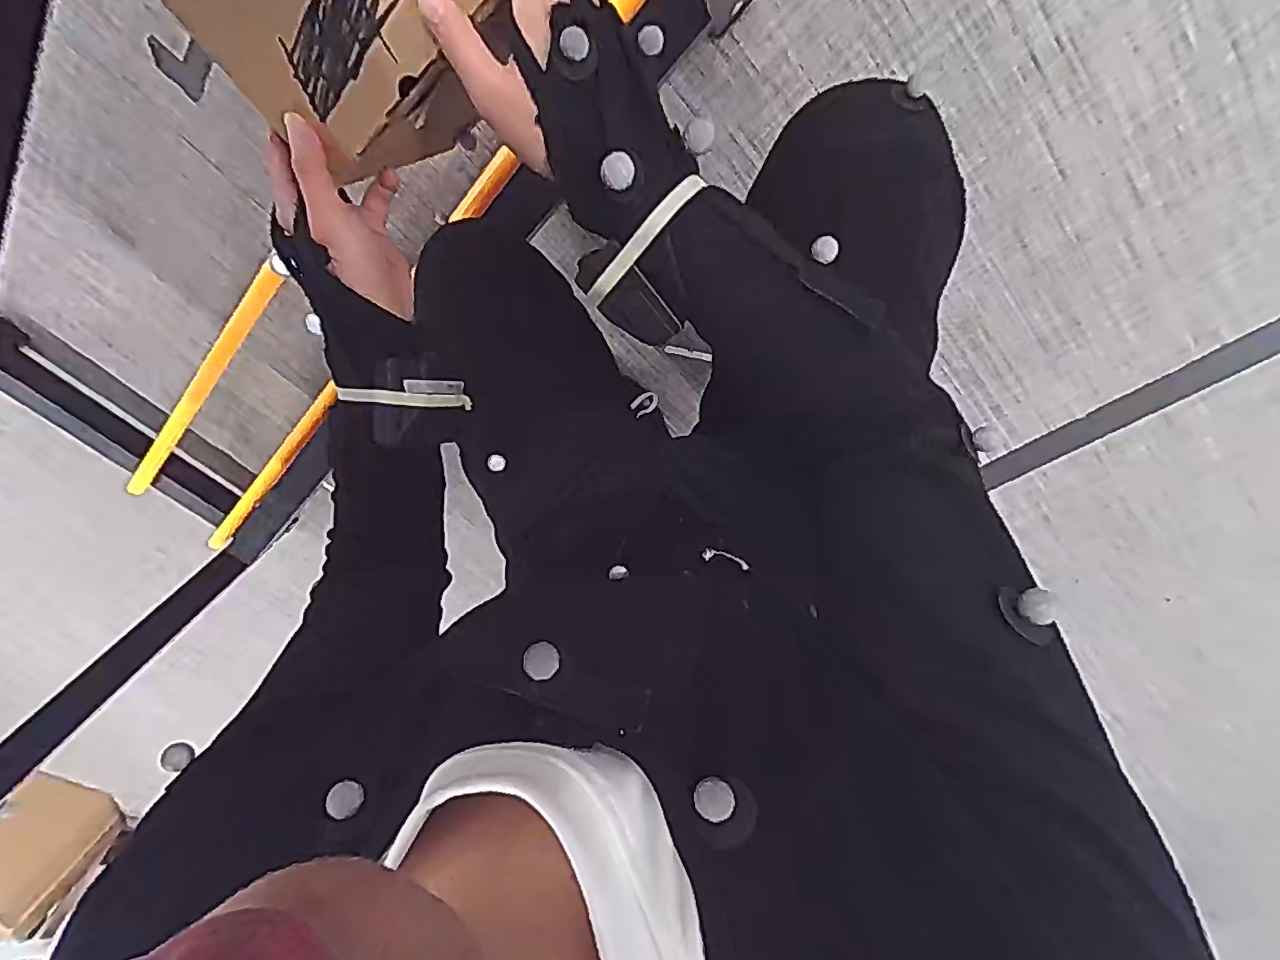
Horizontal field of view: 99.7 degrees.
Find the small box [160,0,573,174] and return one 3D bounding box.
[{"bbox_3d":[-0.156,-0.315,0.302,0.168,0.176,0.179,-25,118,28],"label":"small box"}]
